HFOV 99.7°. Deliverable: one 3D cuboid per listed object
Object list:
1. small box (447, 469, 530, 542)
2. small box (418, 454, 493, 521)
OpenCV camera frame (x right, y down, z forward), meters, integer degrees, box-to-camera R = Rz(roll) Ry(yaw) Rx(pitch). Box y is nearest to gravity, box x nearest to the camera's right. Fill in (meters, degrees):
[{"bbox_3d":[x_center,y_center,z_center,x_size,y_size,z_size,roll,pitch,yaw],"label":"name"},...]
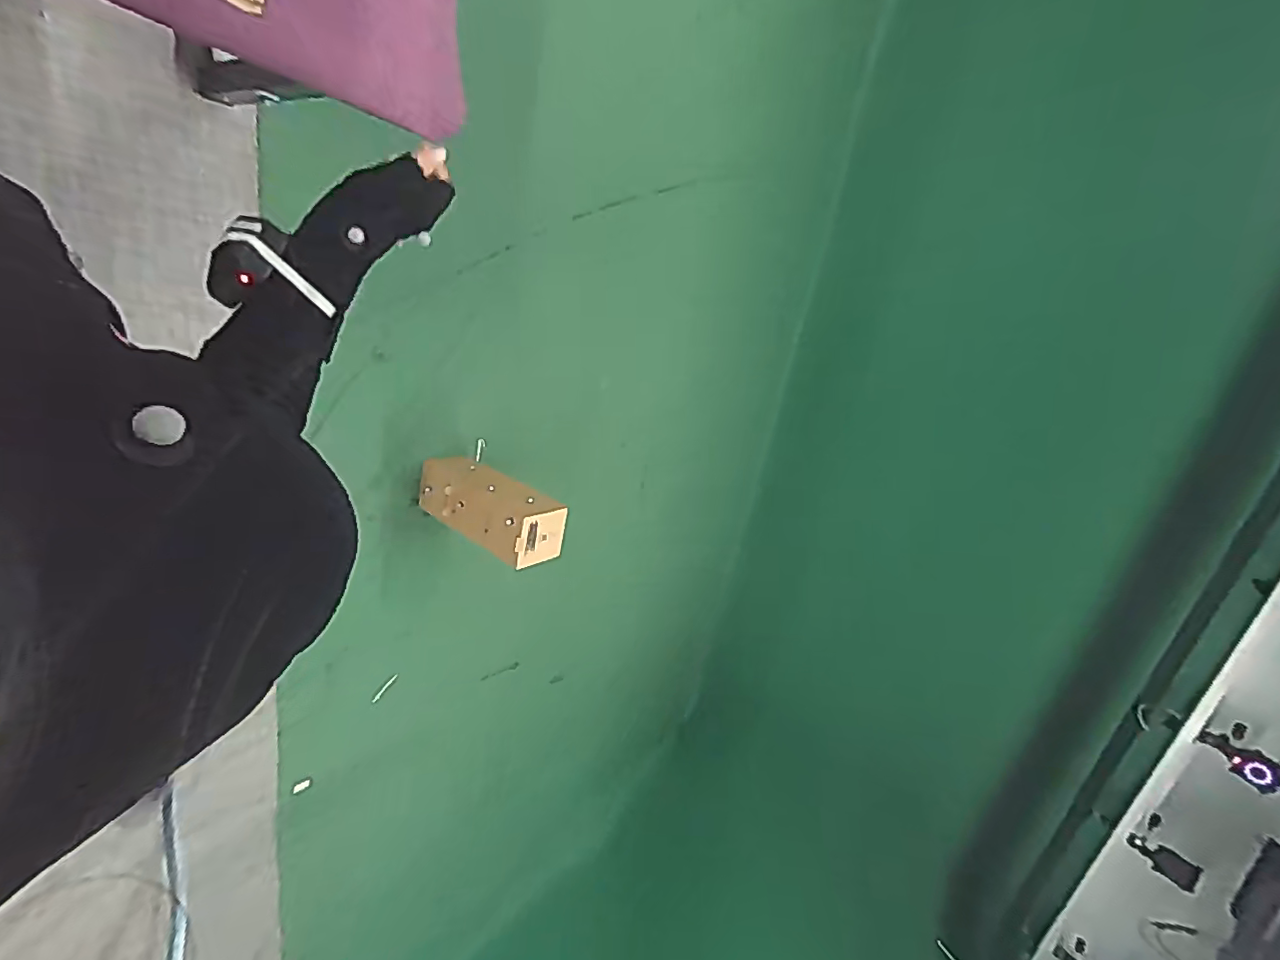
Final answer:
[{"bbox_3d":[-0.479,0.073,1.706,0.179,0.176,0.168,-12,120,-51],"label":"small box"},{"bbox_3d":[-0.605,0.018,1.793,0.179,0.176,0.168,-10,118,-52],"label":"small box"}]
